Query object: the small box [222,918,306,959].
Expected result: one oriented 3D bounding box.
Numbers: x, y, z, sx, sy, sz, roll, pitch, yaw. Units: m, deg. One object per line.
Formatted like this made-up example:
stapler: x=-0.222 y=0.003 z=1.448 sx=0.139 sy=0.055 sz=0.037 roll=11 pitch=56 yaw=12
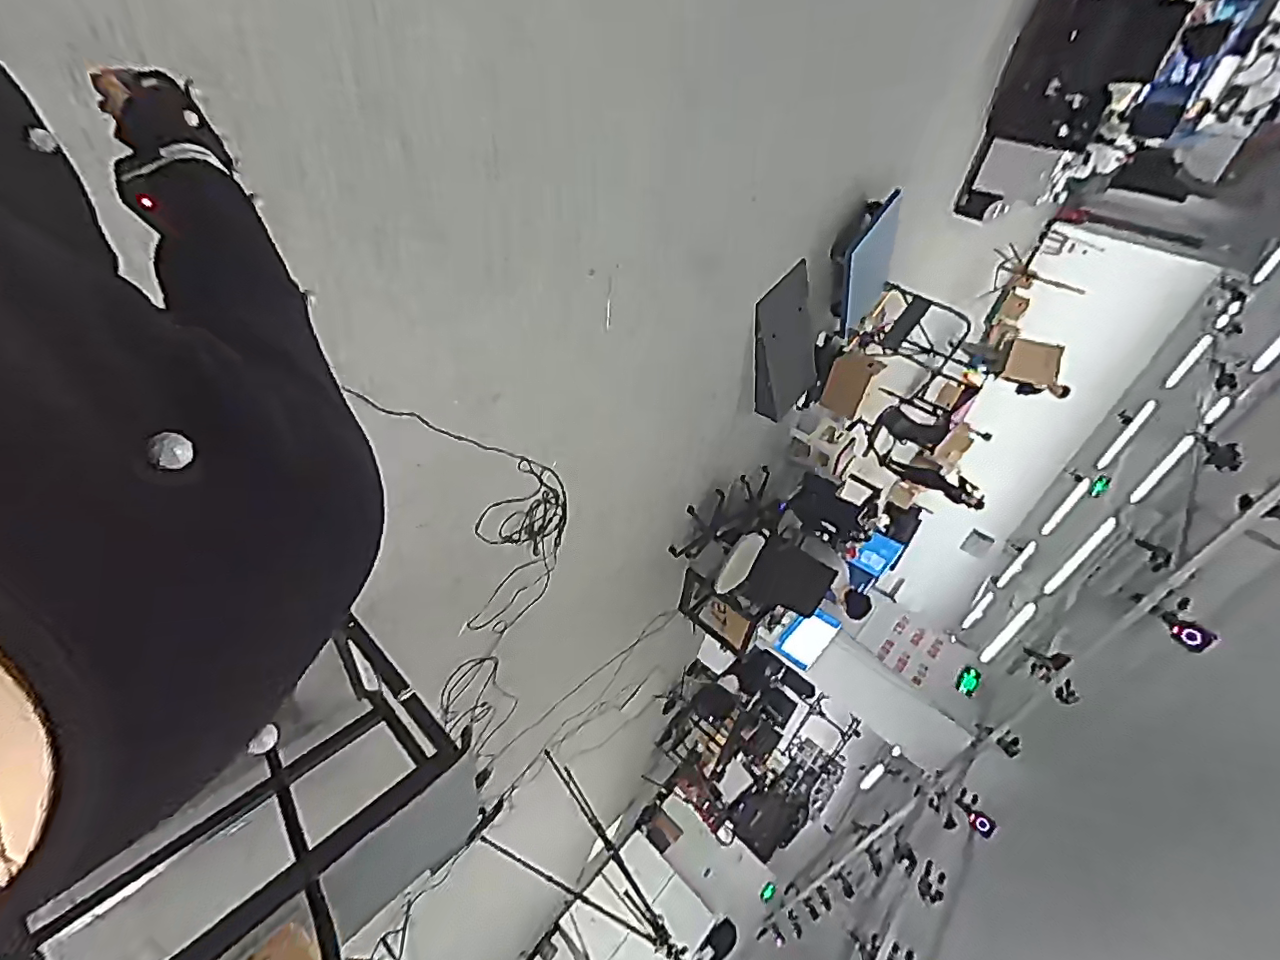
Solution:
small box: x=-0.945 y=1.260 z=1.360 sx=0.168 sy=0.176 sz=0.179 roll=-29 pitch=144 yaw=-41
